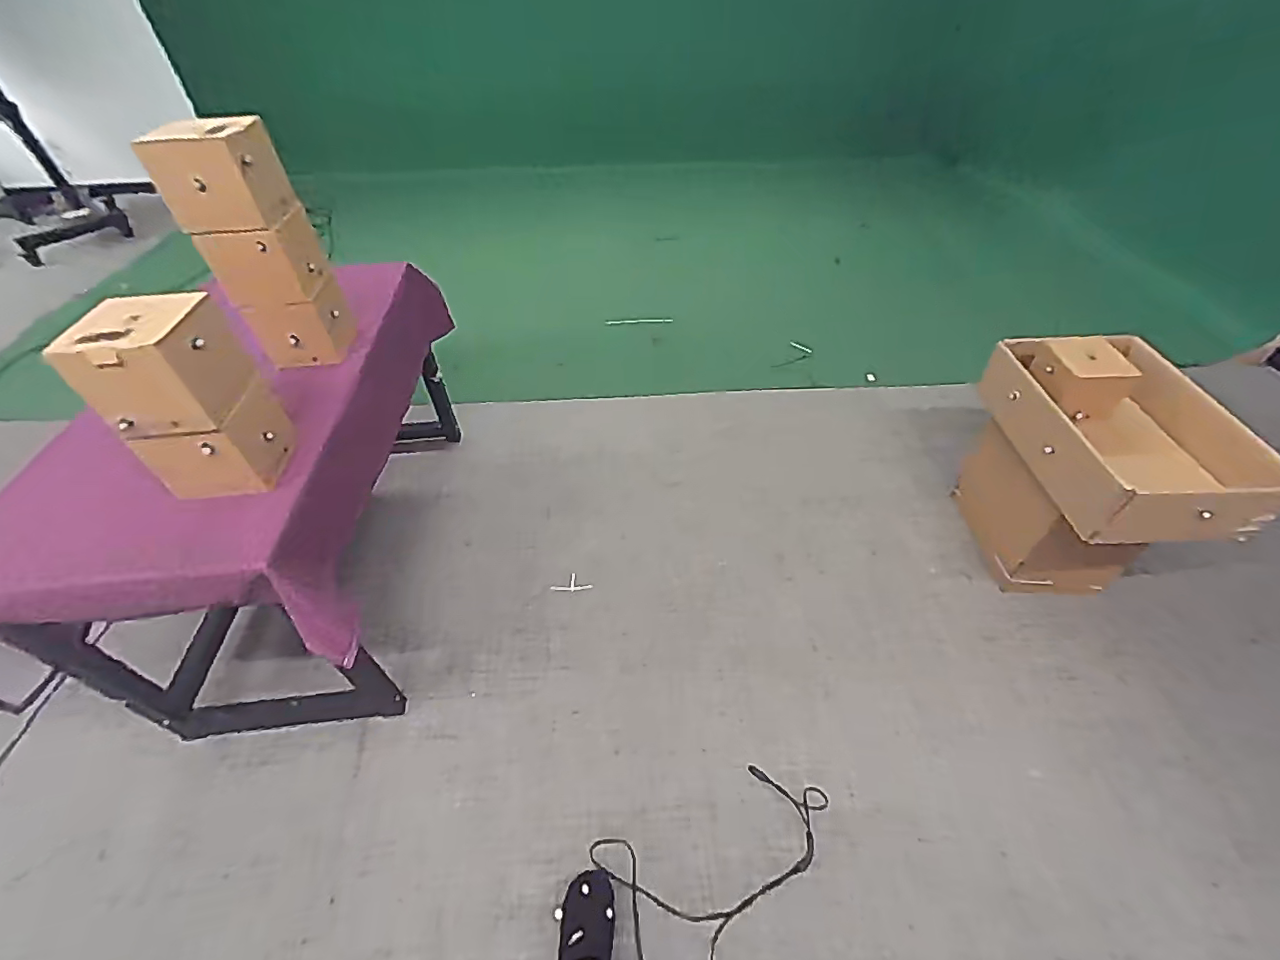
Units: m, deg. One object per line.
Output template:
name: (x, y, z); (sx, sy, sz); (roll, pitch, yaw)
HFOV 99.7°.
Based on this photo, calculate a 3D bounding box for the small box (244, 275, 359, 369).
small box: (-0.838, -0.392, 1.362); (0.168, 0.176, 0.179); (-5, 46, -3)

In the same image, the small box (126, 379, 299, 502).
small box: (-0.806, -0.075, 1.048); (0.179, 0.176, 0.168); (-5, 45, -2)

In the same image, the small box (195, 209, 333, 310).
small box: (-0.850, -0.503, 1.243); (0.179, 0.176, 0.168); (-4, 45, -2)

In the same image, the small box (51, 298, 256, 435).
small box: (-0.811, -0.190, 0.930); (0.168, 0.176, 0.179); (-5, 45, -3)

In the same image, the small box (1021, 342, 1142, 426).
small box: (1.214, -0.268, 1.506); (0.168, 0.176, 0.179); (-1, 44, 3)
